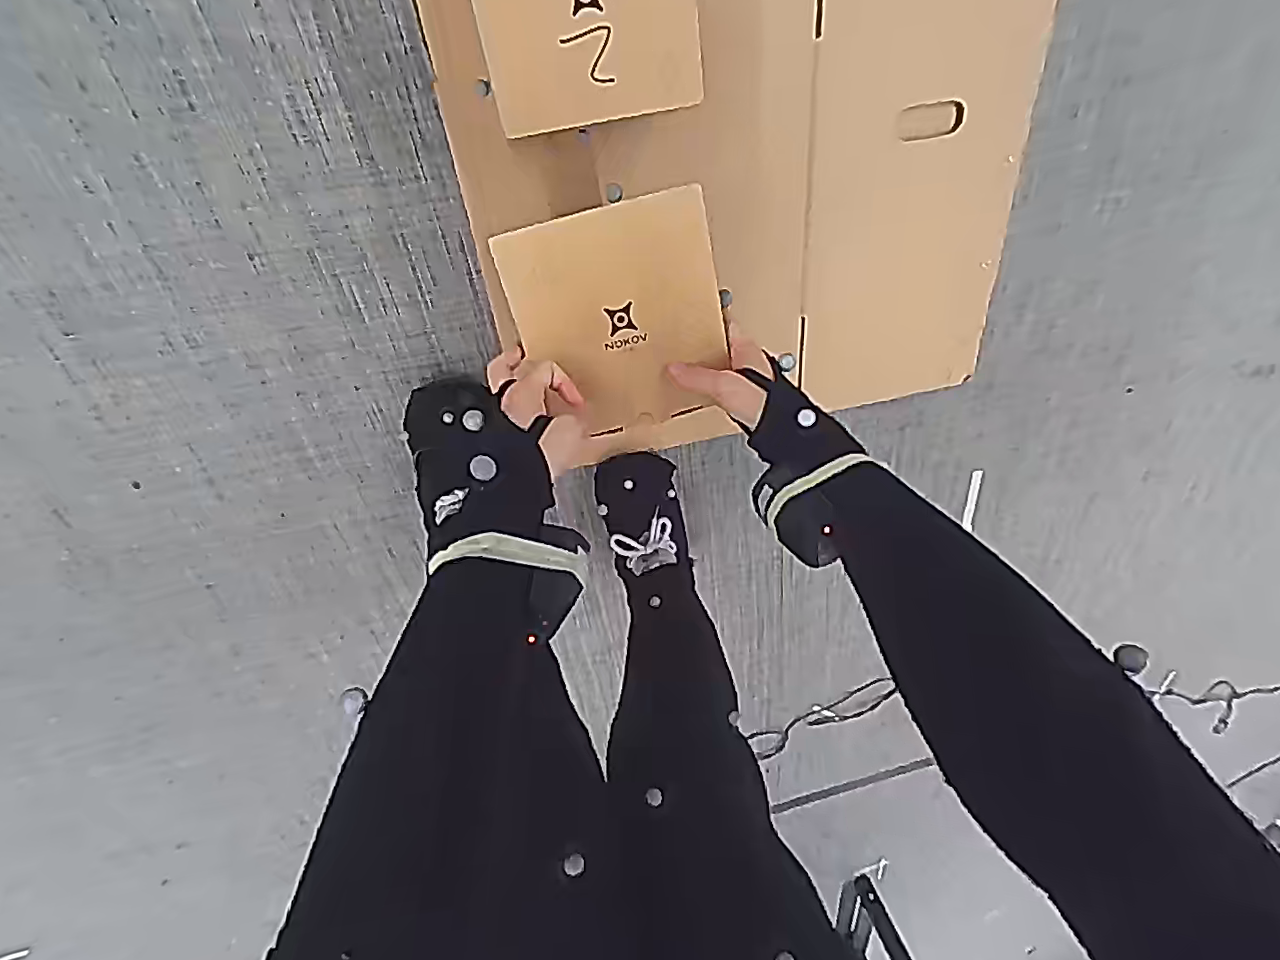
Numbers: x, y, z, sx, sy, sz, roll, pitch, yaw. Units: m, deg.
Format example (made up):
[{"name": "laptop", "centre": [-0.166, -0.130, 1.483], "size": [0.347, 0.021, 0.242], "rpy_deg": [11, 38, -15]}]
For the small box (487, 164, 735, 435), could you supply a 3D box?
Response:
[{"name": "small box", "centre": [-0.024, -0.168, 0.501], "size": [0.168, 0.176, 0.179], "rpy_deg": [-15, 117, 2]}]
